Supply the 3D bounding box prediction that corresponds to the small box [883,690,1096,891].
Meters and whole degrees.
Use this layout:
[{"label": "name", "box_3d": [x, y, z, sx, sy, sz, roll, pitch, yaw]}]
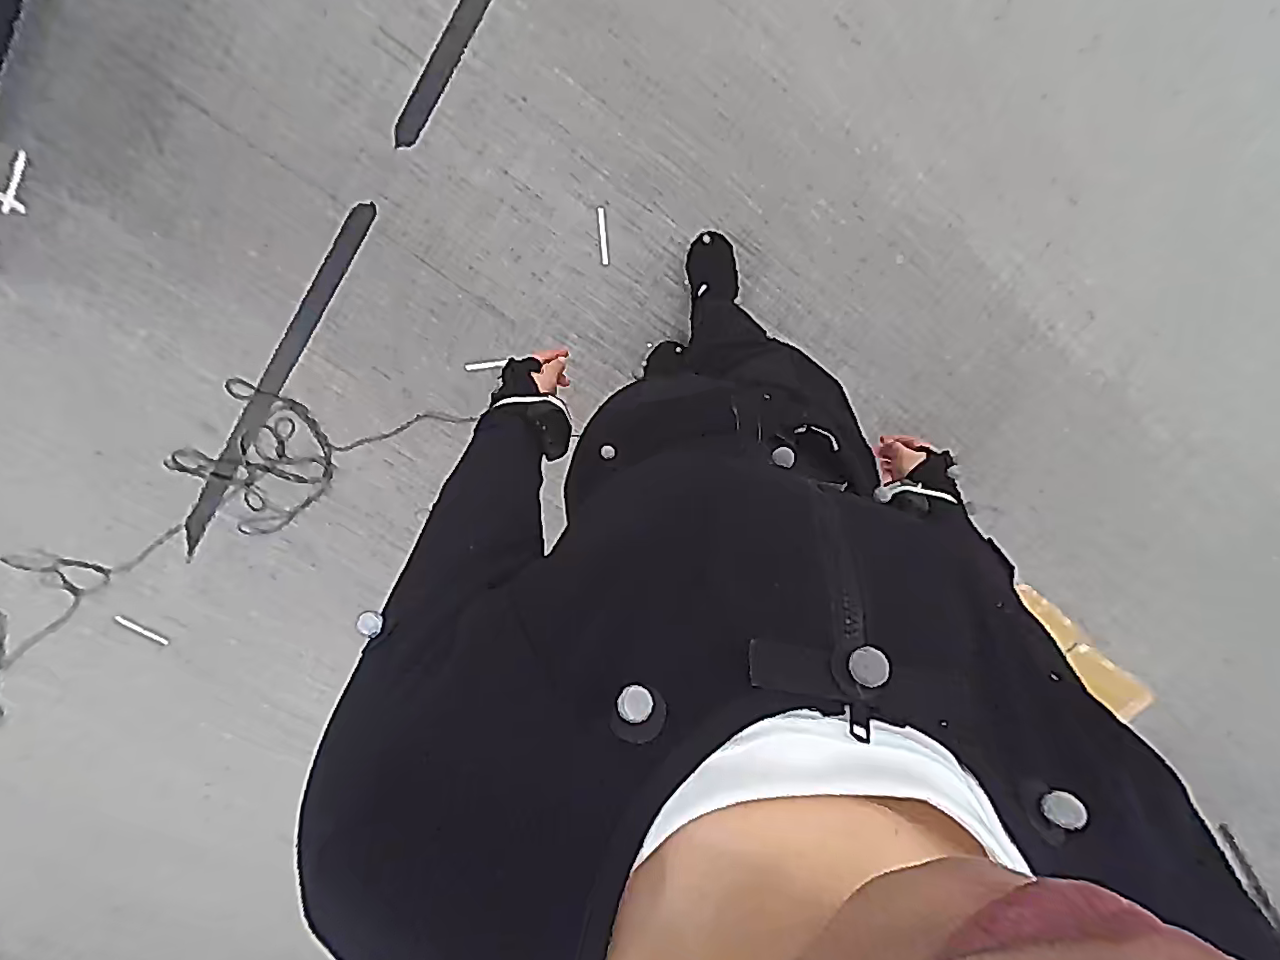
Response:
[{"label": "small box", "box_3d": [0.512, 0.460, 0.822, 0.168, 0.176, 0.179, 35, 104, -12]}]
